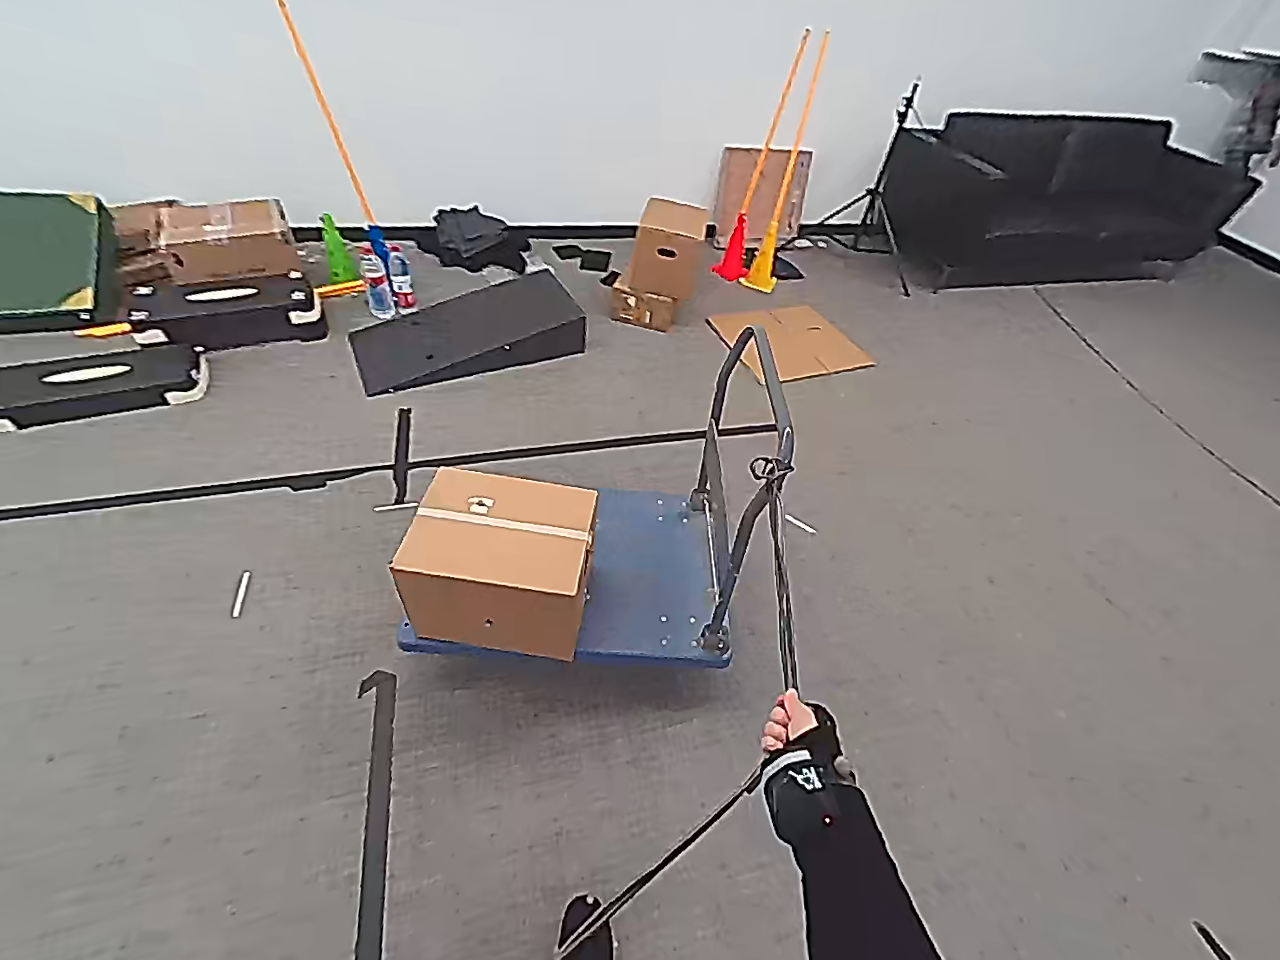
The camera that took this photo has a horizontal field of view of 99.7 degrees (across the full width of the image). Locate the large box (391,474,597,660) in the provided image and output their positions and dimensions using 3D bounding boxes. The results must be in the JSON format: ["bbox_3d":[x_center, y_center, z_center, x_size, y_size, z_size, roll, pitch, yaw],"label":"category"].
[{"bbox_3d":[-0.329,0.221,1.350,0.408,0.320,0.320,8,45,0],"label":"large box"}]
